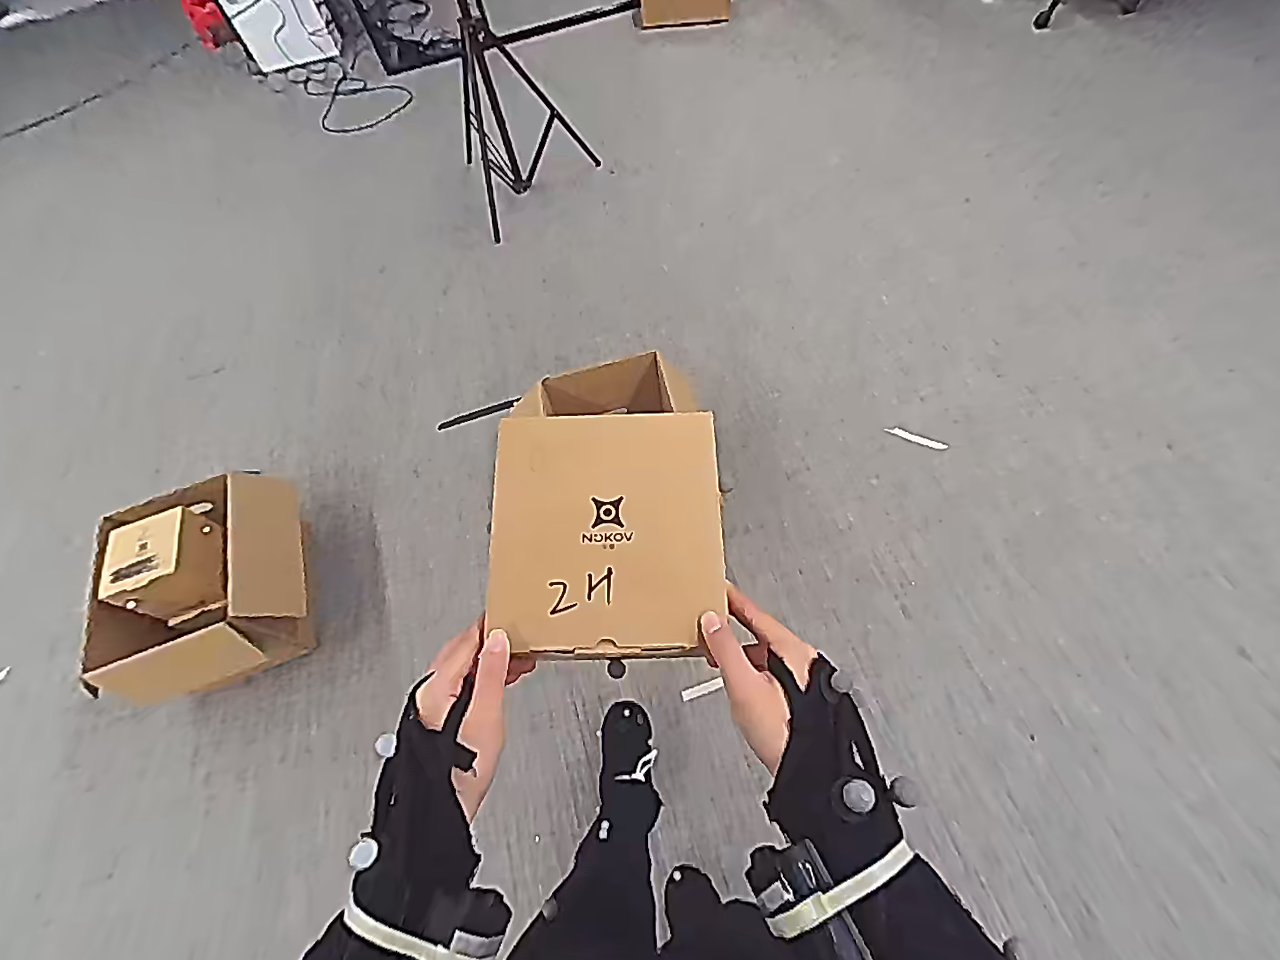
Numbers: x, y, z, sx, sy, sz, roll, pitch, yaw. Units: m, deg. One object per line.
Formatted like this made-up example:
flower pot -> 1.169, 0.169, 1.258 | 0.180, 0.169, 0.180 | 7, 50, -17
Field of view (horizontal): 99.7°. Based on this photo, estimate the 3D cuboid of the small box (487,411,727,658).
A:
small box -> -0.022, 0.056, 0.467 | 0.168, 0.176, 0.179 | -1, 69, 1
